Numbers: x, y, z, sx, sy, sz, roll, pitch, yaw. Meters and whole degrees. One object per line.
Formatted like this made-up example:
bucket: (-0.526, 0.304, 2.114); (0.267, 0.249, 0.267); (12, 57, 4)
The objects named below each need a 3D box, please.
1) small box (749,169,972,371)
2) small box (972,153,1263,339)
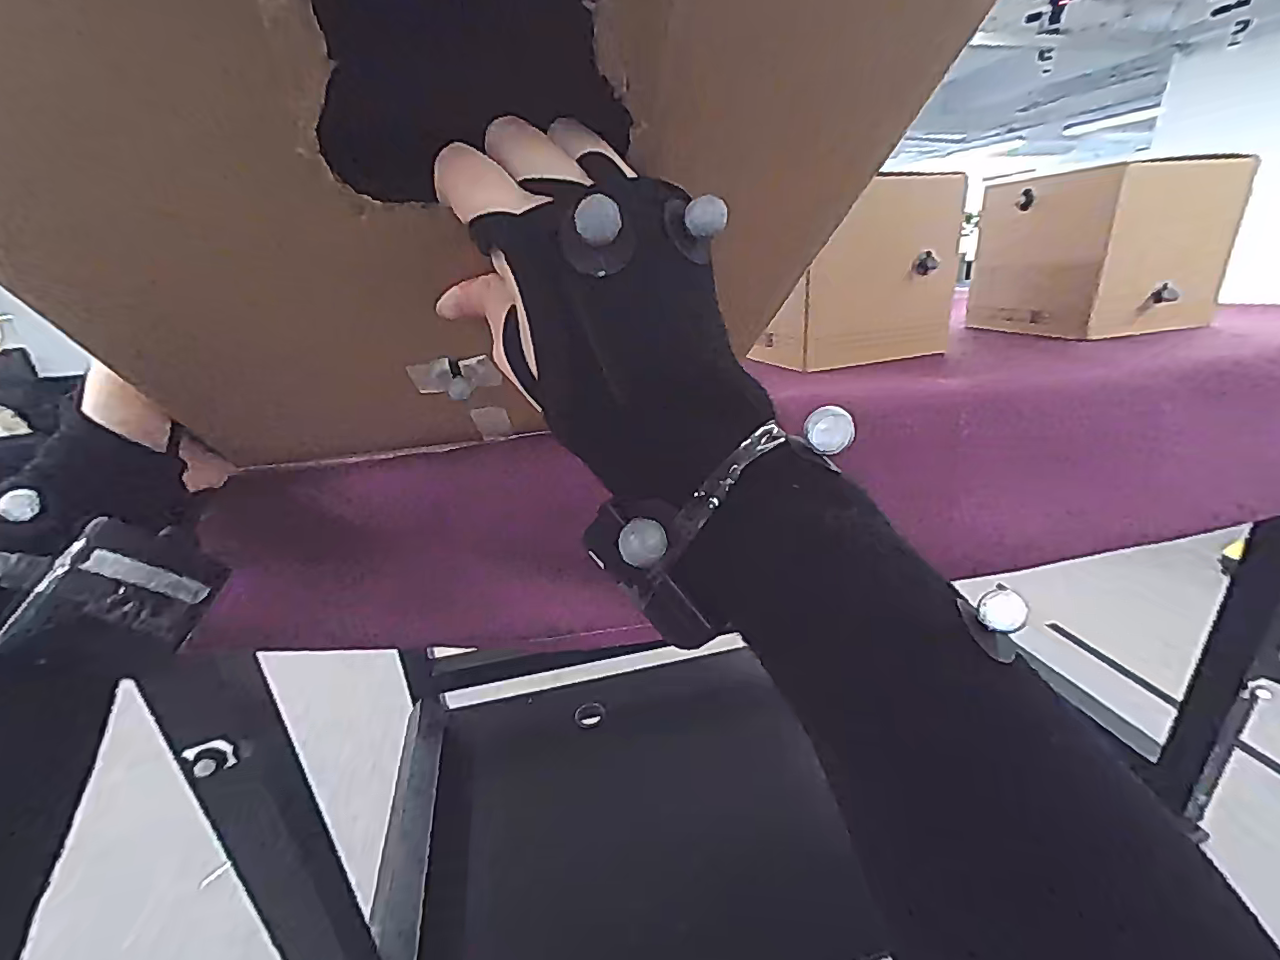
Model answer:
small box: (0.203, -0.218, 0.570); (0.179, 0.176, 0.168); (-11, 22, -17)
small box: (0.520, -0.261, 0.619); (0.179, 0.176, 0.168); (-8, 21, -11)
